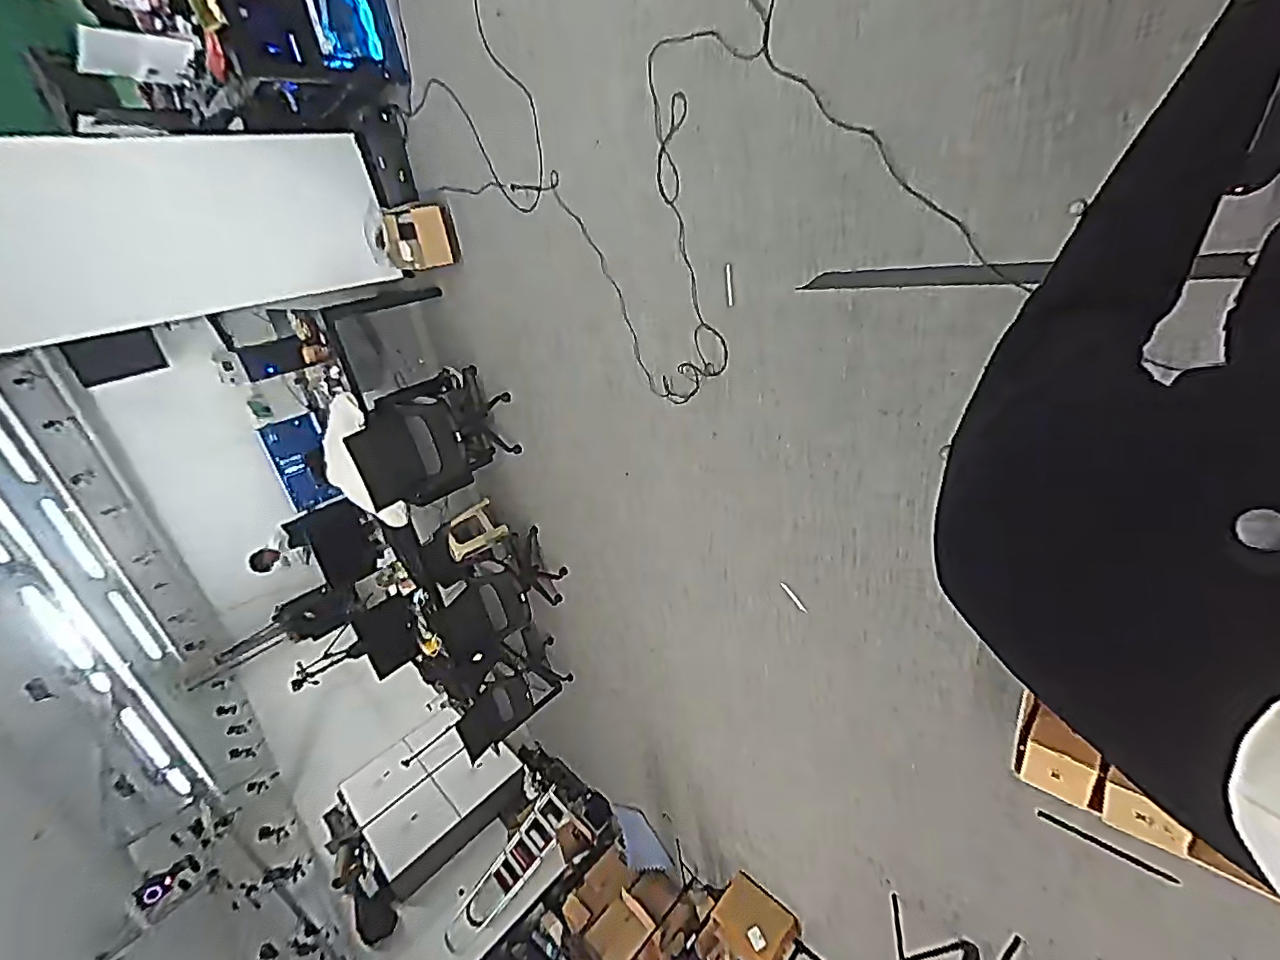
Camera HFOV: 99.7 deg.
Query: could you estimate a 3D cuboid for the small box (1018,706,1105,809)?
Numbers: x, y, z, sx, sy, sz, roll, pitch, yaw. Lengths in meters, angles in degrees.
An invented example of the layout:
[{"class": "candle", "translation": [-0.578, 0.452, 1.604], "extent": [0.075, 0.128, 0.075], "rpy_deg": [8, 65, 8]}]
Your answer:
[{"class": "small box", "translation": [1.273, 0.829, 1.631], "extent": [0.168, 0.176, 0.179], "rpy_deg": [16, 123, 43]}]
